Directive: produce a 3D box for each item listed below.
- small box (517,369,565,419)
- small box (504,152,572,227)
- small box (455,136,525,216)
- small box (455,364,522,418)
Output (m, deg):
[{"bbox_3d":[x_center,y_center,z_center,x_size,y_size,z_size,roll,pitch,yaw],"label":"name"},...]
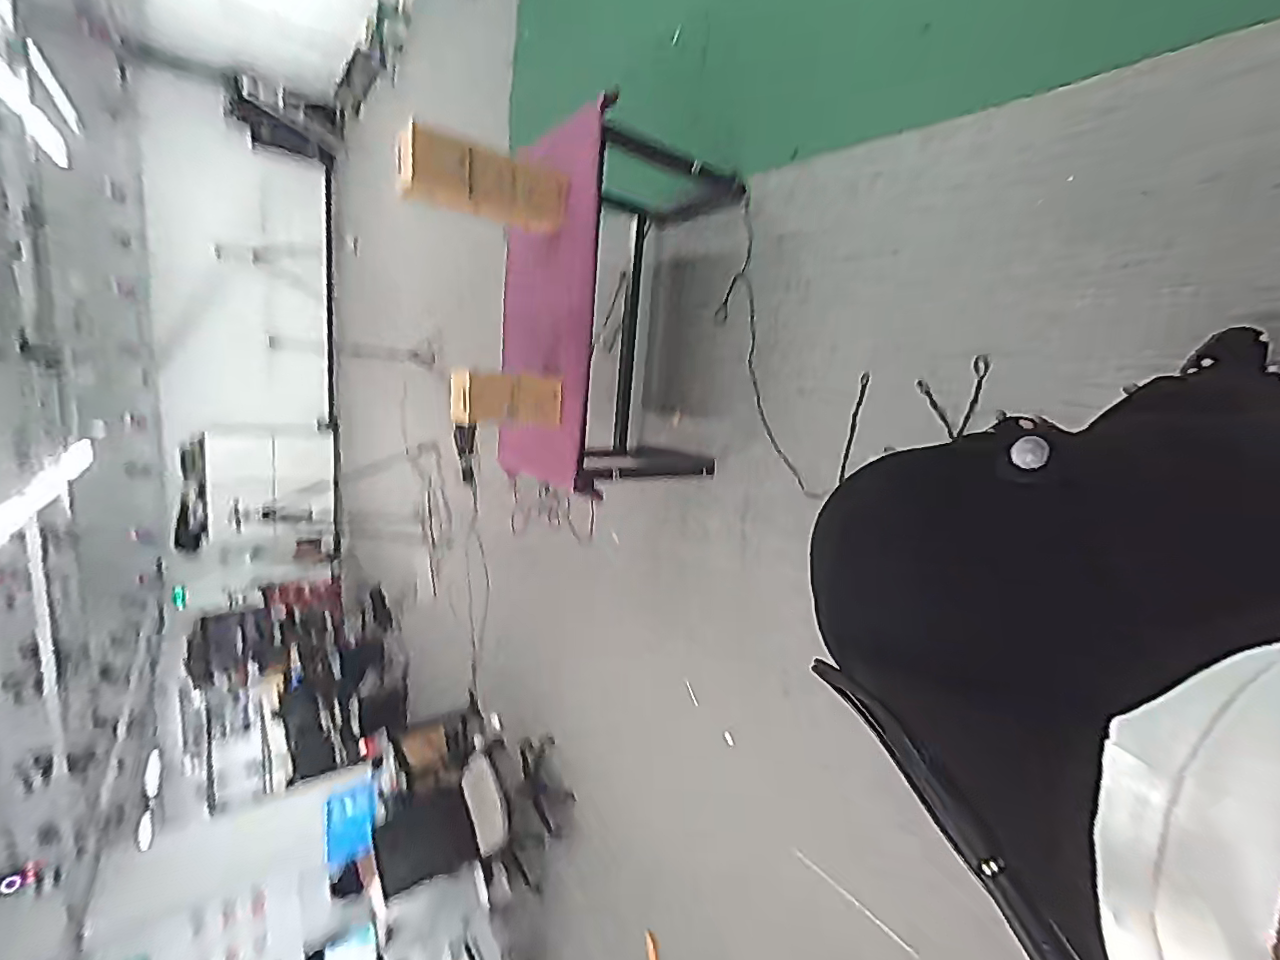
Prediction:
[{"bbox_3d":[-0.375,-0.303,1.902,0.179,0.176,0.168,14,103,52],"label":"small box"},{"bbox_3d":[-0.346,-0.967,1.819,0.179,0.176,0.168,17,107,52],"label":"small box"},{"bbox_3d":[-0.479,-0.960,1.721,0.179,0.176,0.168,20,108,51],"label":"small box"},{"bbox_3d":[-0.505,-0.297,1.801,0.179,0.176,0.168,16,104,52],"label":"small box"}]
